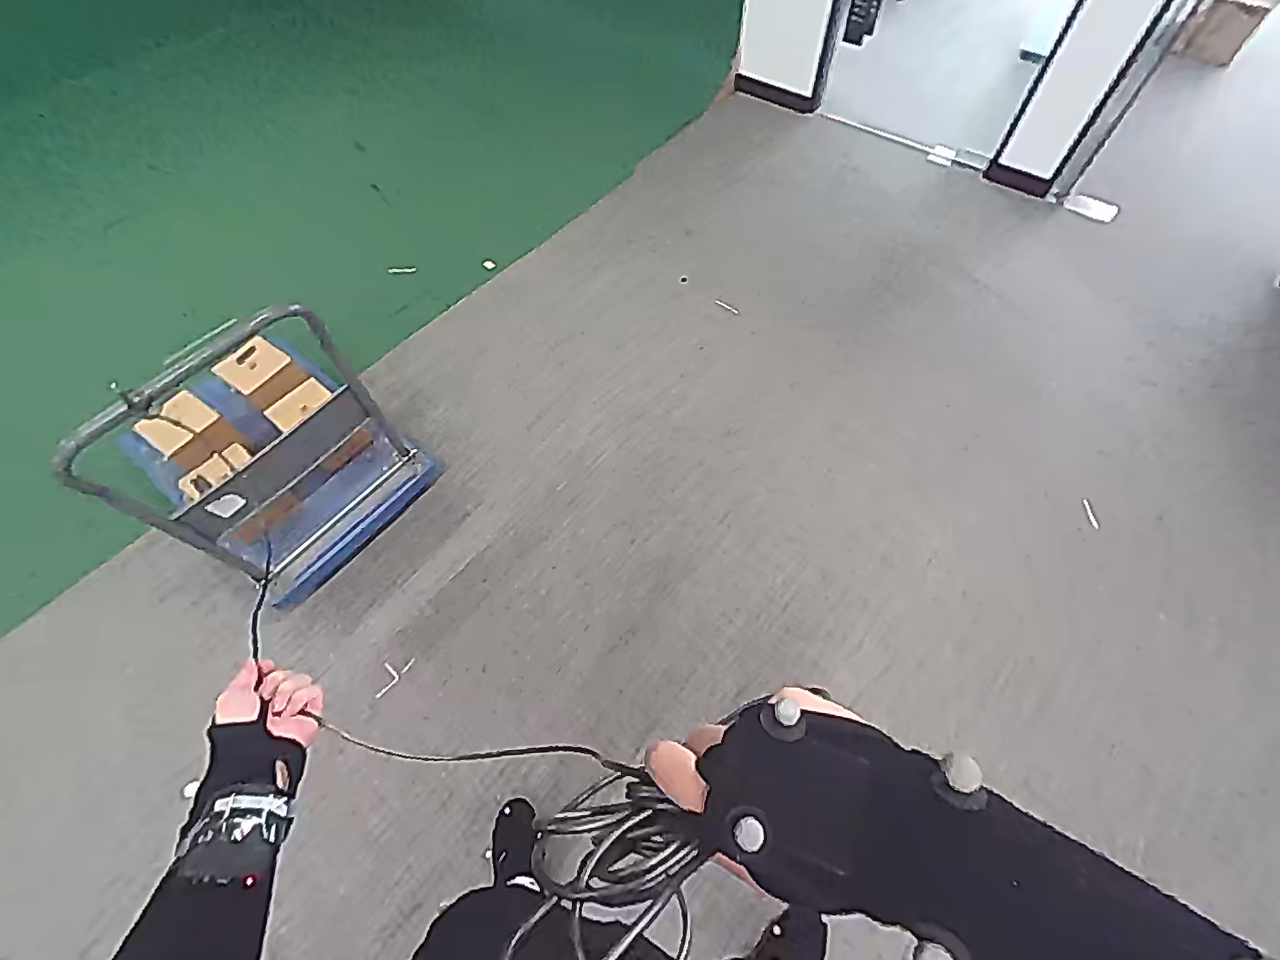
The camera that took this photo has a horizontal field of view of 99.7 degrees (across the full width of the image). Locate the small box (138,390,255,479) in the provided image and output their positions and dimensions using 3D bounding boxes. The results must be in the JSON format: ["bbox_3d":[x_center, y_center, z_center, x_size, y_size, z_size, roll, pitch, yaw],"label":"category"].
[{"bbox_3d":[-1.300,-0.127,1.599,0.179,0.176,0.168,31,65,17],"label":"small box"}]

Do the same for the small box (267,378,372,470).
[{"bbox_3d":[-0.946,-0.162,1.610,0.179,0.176,0.168,36,67,18],"label":"small box"}]

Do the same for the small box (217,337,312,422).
[{"bbox_3d":[-1.156,-0.309,1.696,0.179,0.176,0.168,32,67,16],"label":"small box"}]
